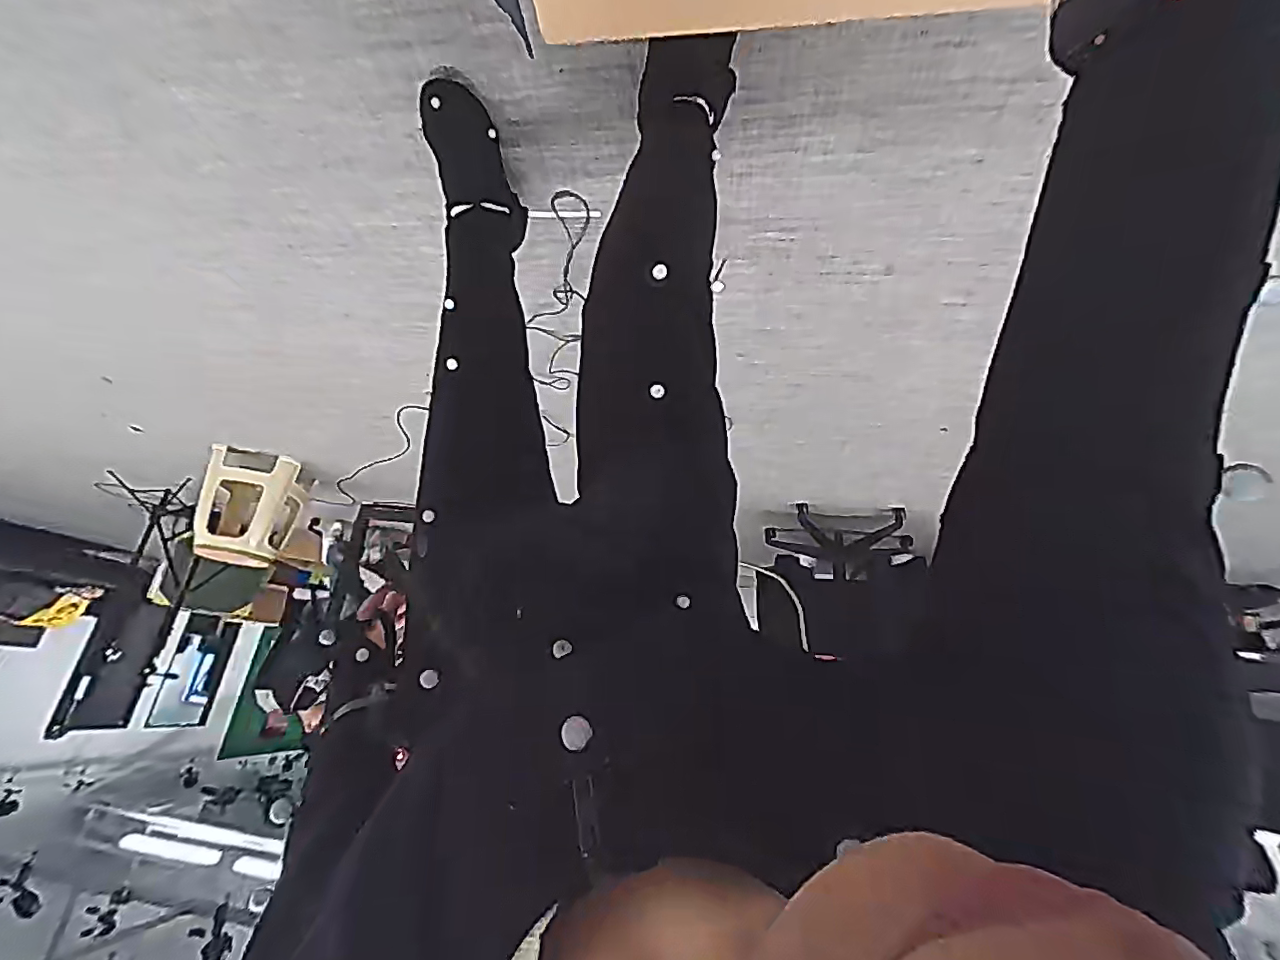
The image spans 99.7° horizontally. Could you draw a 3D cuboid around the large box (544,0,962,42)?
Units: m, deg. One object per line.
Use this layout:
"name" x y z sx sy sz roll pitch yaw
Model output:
"large box" 0.115 -0.551 0.333 0.408 0.320 0.320 2 158 8
